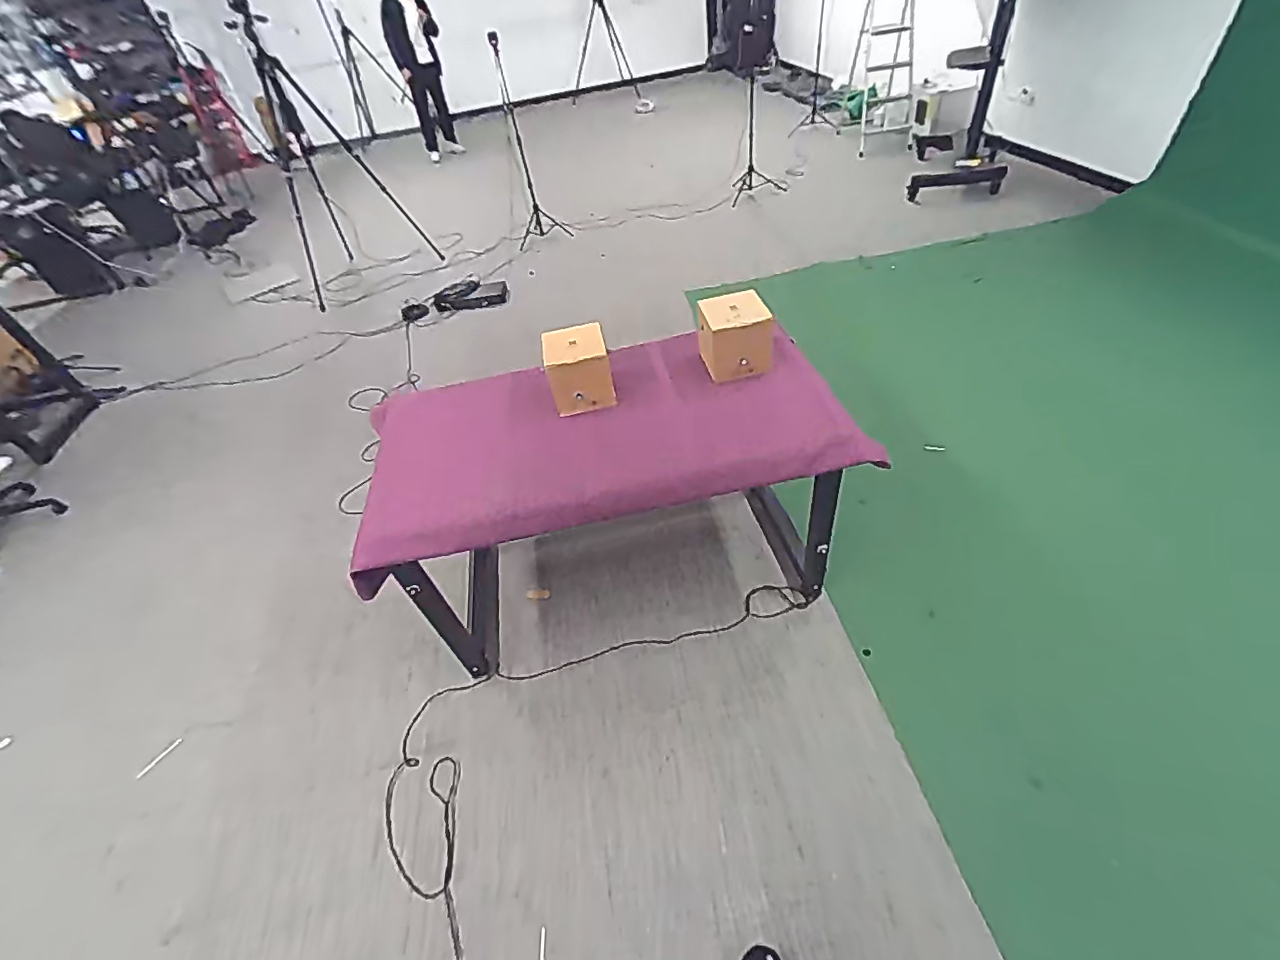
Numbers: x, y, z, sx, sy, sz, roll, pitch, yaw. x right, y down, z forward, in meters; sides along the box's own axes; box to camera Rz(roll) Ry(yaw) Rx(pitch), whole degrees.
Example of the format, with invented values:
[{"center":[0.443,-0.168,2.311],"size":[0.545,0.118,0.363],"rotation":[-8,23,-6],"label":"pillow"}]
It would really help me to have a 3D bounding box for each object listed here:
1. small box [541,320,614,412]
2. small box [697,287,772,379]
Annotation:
[{"center":[-0.172,-0.313,1.490],"size":[0.168,0.176,0.179],"rotation":[-12,46,-3],"label":"small box"},{"center":[0.259,-0.408,1.502],"size":[0.168,0.176,0.179],"rotation":[-12,46,-1],"label":"small box"}]
